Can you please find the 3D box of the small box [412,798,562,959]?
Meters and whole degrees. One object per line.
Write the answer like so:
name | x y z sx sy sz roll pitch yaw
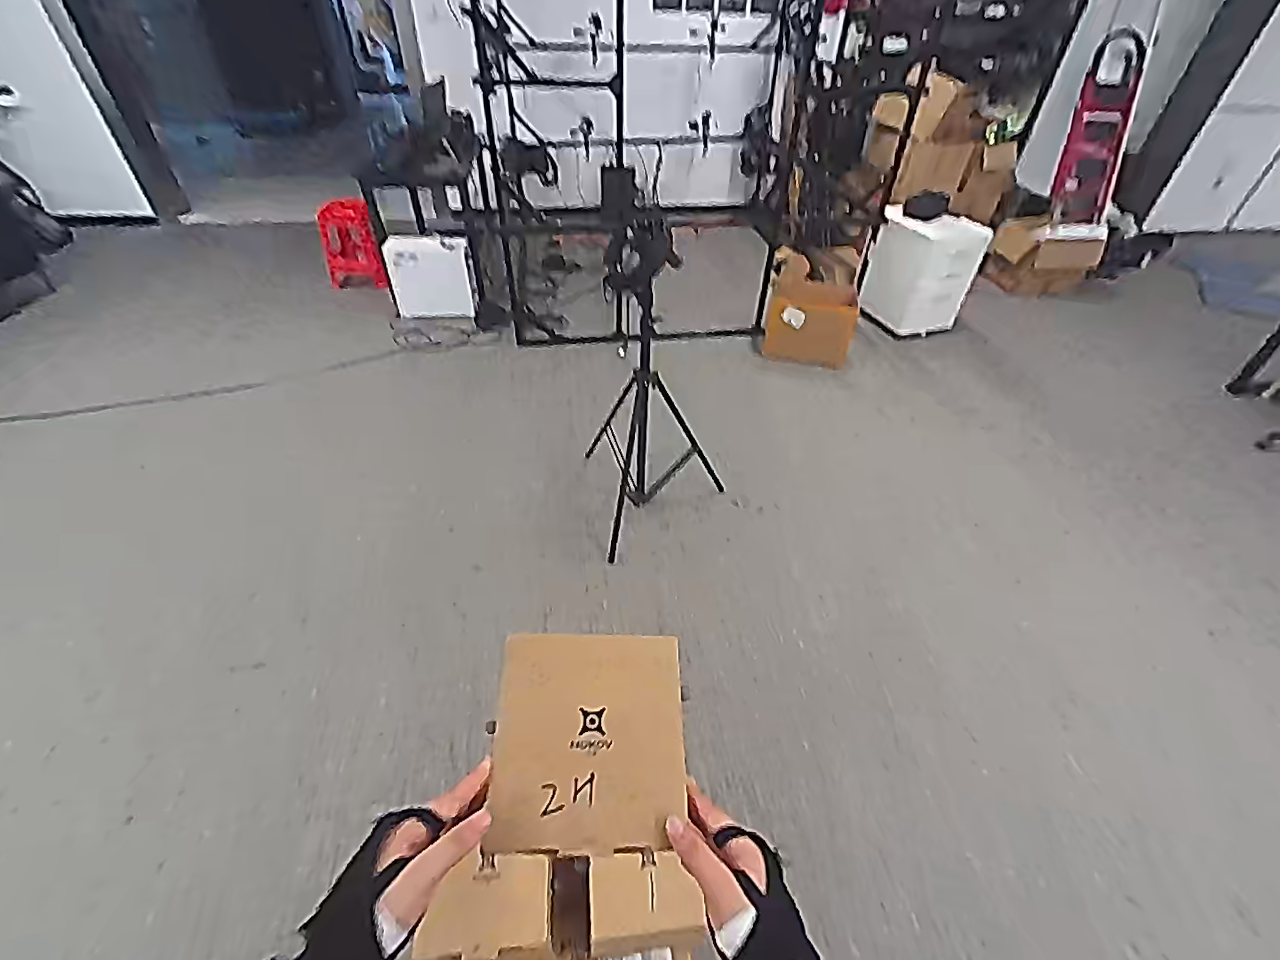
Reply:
small box | -0.201 0.580 0.769 0.168 0.176 0.179 -4 44 -4

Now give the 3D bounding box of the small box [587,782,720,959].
small box | 0.008 0.571 0.790 0.168 0.176 0.179 -2 44 -7
